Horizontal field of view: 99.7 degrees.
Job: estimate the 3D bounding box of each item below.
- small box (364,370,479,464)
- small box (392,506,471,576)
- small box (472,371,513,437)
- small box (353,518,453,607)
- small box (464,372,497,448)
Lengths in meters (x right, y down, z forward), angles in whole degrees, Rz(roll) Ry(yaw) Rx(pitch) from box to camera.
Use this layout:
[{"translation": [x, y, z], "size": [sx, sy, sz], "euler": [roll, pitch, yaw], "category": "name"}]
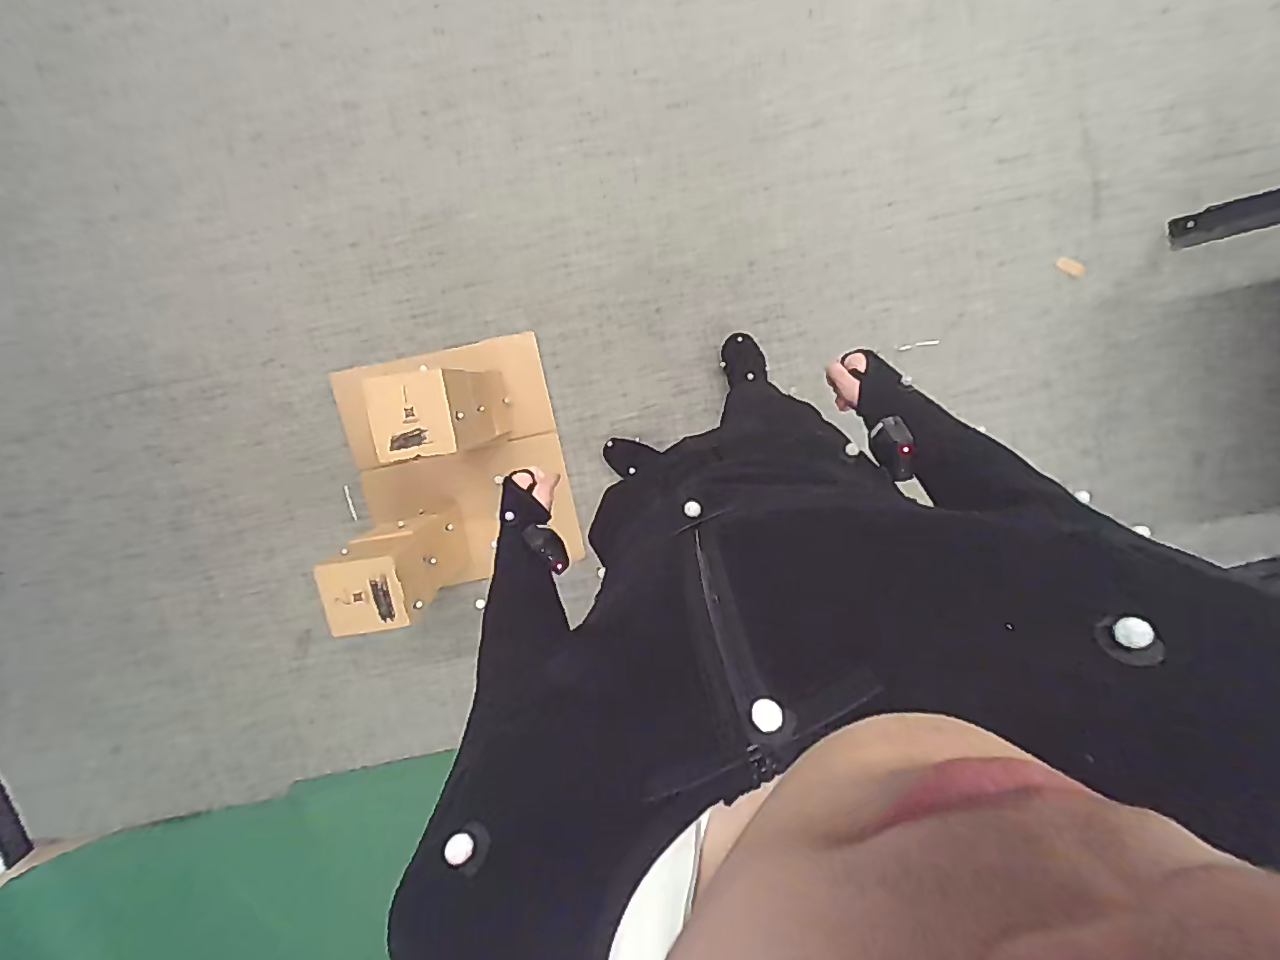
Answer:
[{"translation": [-0.462, -0.142, 1.172], "size": [0.168, 0.176, 0.179], "euler": [-7, 101, 0], "category": "small box"}, {"translation": [-0.607, 0.180, 1.560], "size": [0.168, 0.176, 0.179], "euler": [-10, 101, 2], "category": "small box"}, {"translation": [-0.461, -0.202, 1.493], "size": [0.168, 0.176, 0.179], "euler": [-8, 101, 1], "category": "small box"}, {"translation": [-0.606, 0.204, 1.400], "size": [0.168, 0.176, 0.179], "euler": [-10, 101, 1], "category": "small box"}, {"translation": [-0.462, -0.170, 1.333], "size": [0.168, 0.176, 0.179], "euler": [-6, 101, 0], "category": "small box"}]
